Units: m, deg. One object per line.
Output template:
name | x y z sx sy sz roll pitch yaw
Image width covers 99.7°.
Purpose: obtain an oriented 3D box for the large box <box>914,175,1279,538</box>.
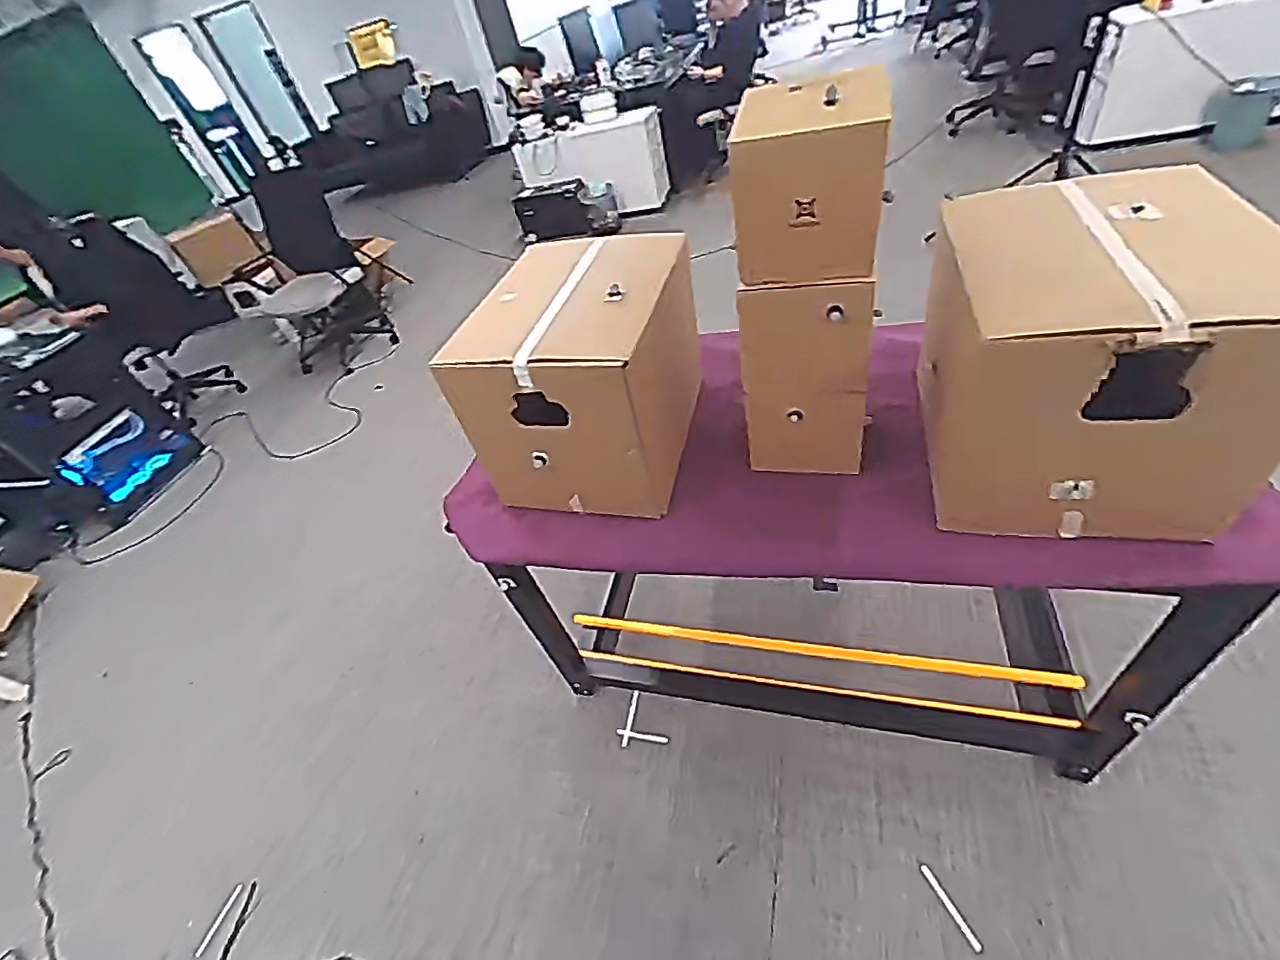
large box | 0.581 -0.168 0.744 0.320 0.320 0.408 2 44 18
